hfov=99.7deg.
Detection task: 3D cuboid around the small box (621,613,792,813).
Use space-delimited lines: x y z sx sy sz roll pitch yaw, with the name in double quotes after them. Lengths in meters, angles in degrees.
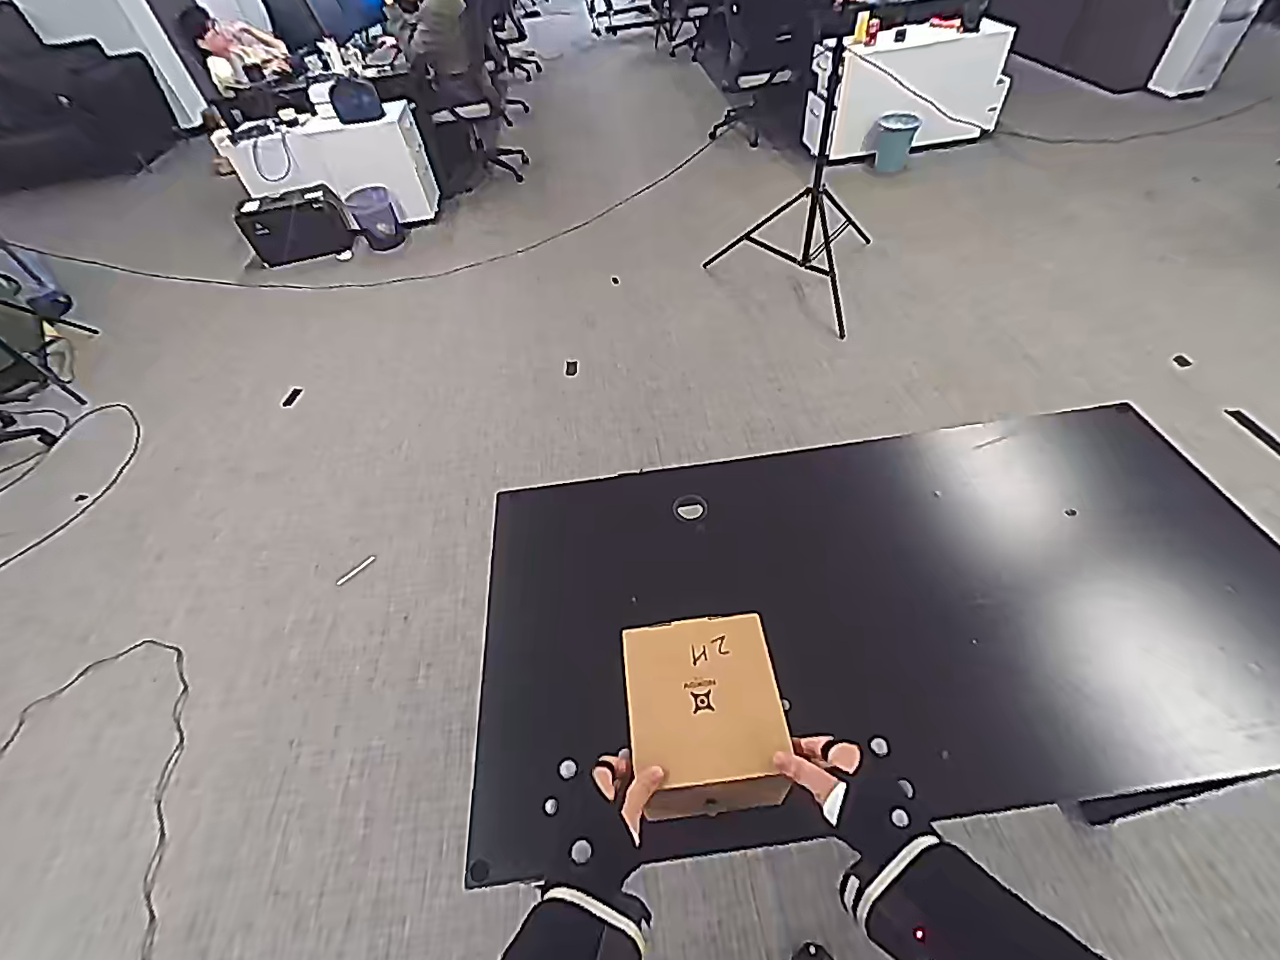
0.074 0.287 0.652 0.168 0.176 0.179 -8 48 0 "small box"
